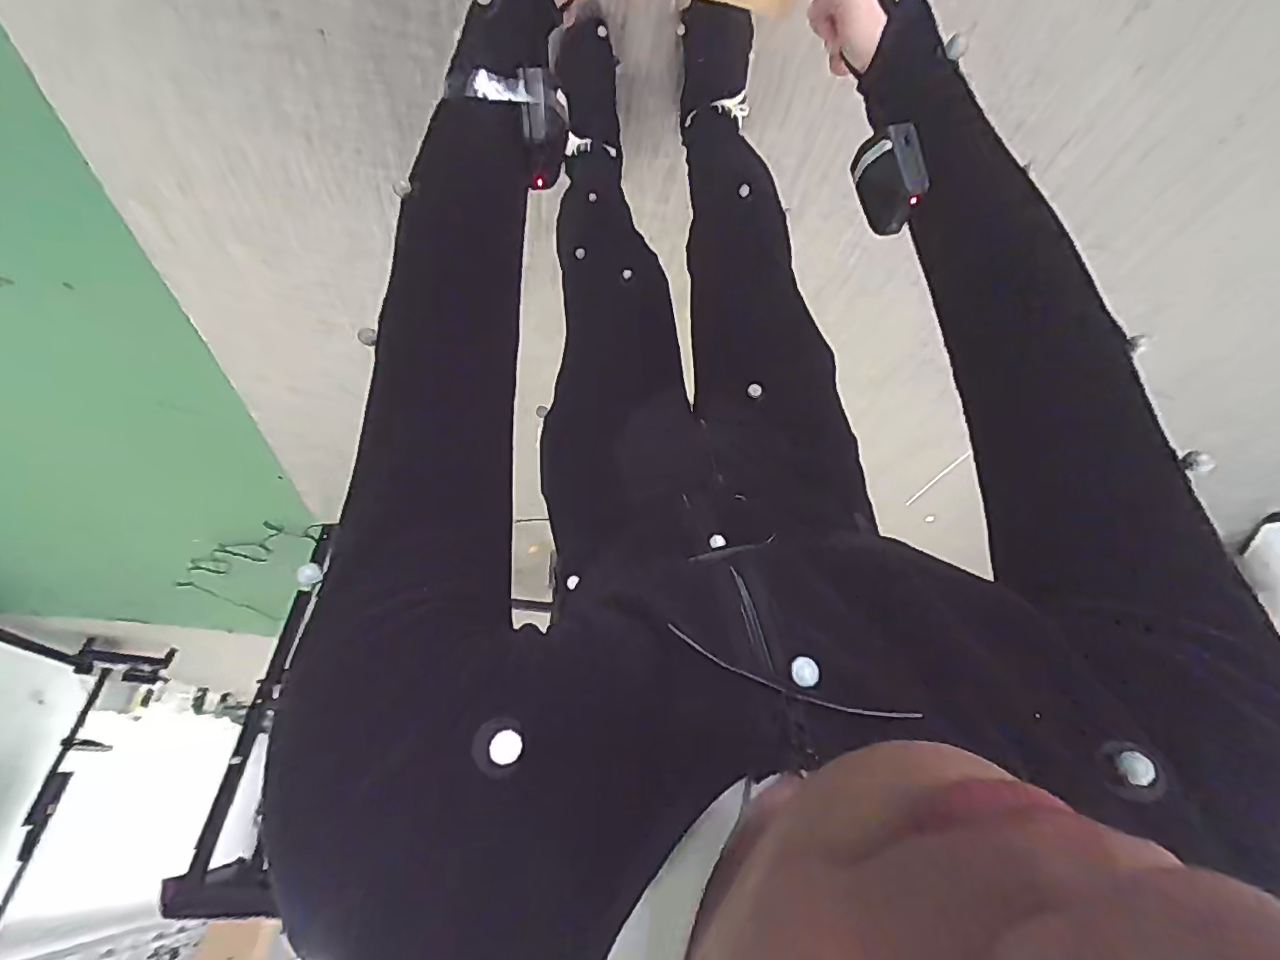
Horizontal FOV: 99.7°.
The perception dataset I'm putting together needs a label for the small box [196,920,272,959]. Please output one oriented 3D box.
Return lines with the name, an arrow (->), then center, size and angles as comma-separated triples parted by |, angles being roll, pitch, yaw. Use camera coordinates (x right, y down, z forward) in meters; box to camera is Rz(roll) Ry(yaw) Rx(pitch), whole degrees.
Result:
small box -> -1.371, 1.598, 1.817 | 0.179, 0.176, 0.168 | 9, 145, -12
